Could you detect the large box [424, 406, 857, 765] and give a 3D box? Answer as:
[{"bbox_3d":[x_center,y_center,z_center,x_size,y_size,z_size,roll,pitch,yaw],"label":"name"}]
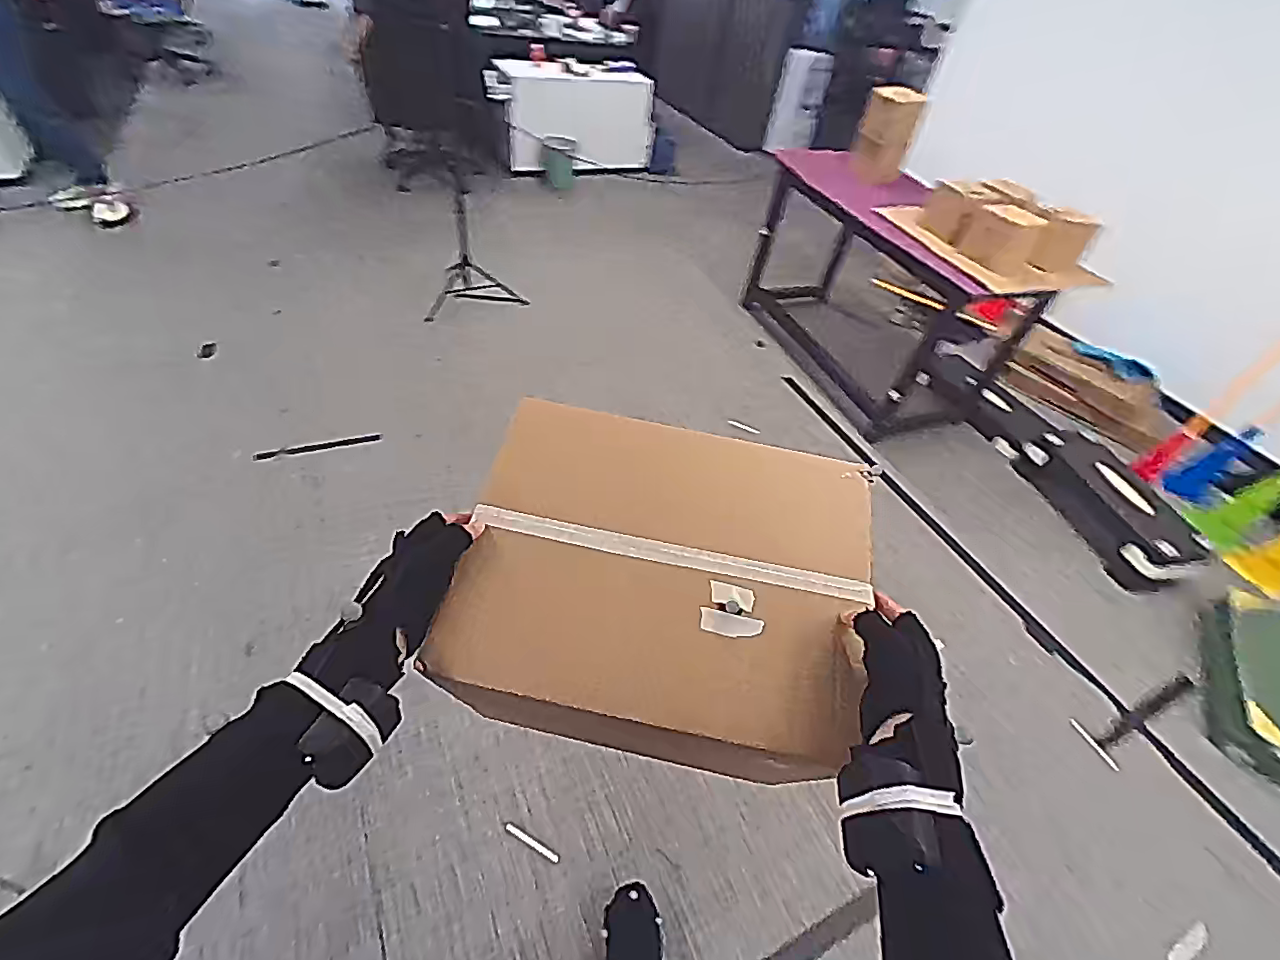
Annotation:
[{"bbox_3d":[0.010,0.148,0.685,0.408,0.320,0.320,11,60,2],"label":"large box"}]
